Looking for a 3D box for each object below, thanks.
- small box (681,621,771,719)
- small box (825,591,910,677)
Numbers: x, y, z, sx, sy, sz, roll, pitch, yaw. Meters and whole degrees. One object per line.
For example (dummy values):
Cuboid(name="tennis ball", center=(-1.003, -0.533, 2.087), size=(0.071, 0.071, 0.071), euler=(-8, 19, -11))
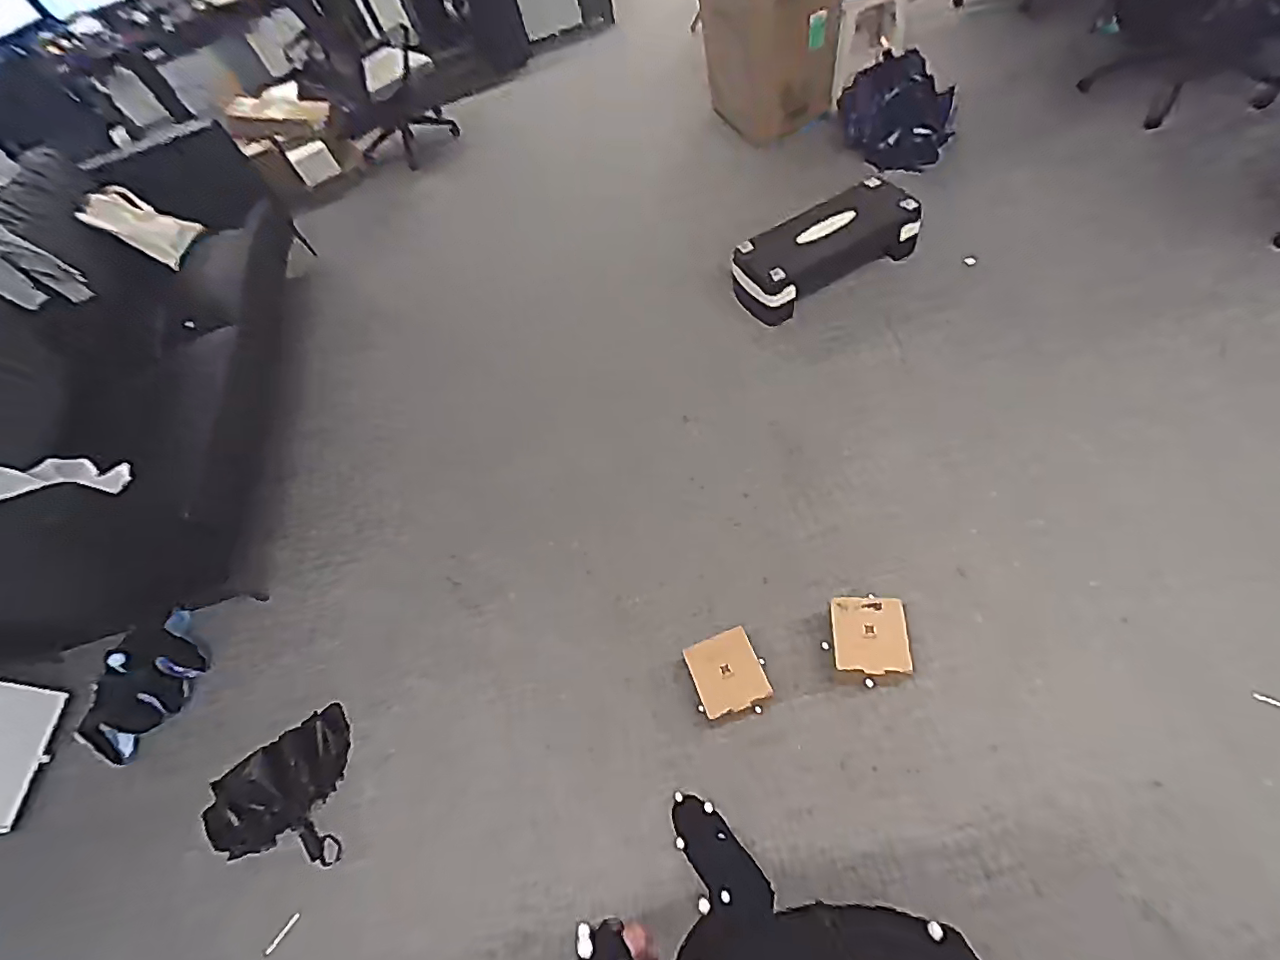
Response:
Cuboid(name="small box", center=(0.222, 0.487, 1.368), size=(0.168, 0.176, 0.179), euler=(-24, 56, -2))
Cuboid(name="small box", center=(0.555, 0.384, 1.340), size=(0.168, 0.176, 0.179), euler=(-3, 60, 14))
